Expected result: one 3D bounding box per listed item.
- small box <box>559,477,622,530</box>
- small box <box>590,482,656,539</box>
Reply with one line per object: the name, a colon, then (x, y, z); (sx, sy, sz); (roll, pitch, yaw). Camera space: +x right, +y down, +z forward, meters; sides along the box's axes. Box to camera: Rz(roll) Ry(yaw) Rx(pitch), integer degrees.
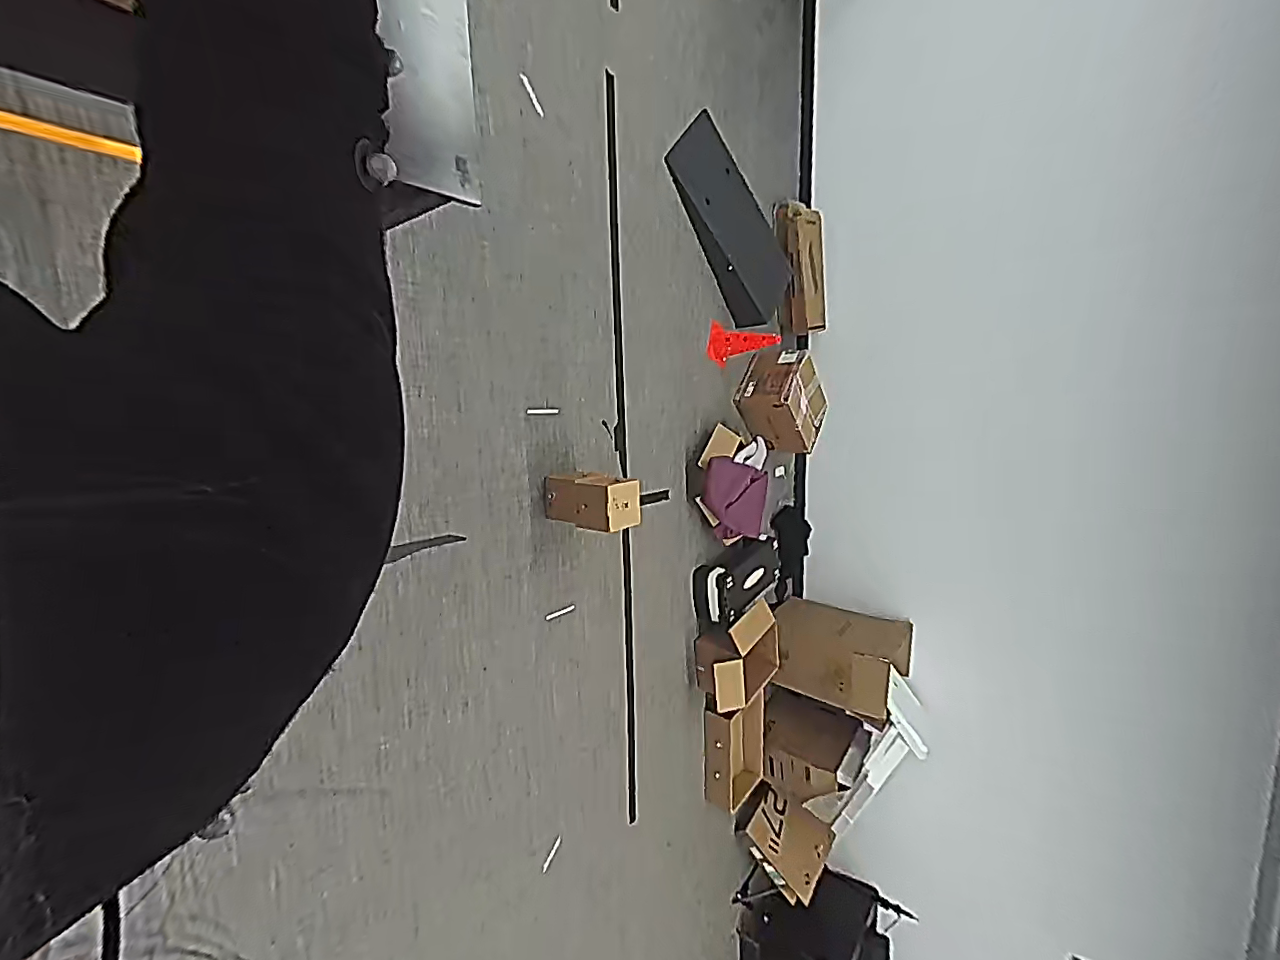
small box: (-0.185, 0.083, 2.037); (0.179, 0.176, 0.168); (-13, 104, -50)
small box: (-0.059, 0.103, 1.931); (0.179, 0.176, 0.168); (-13, 103, -51)
